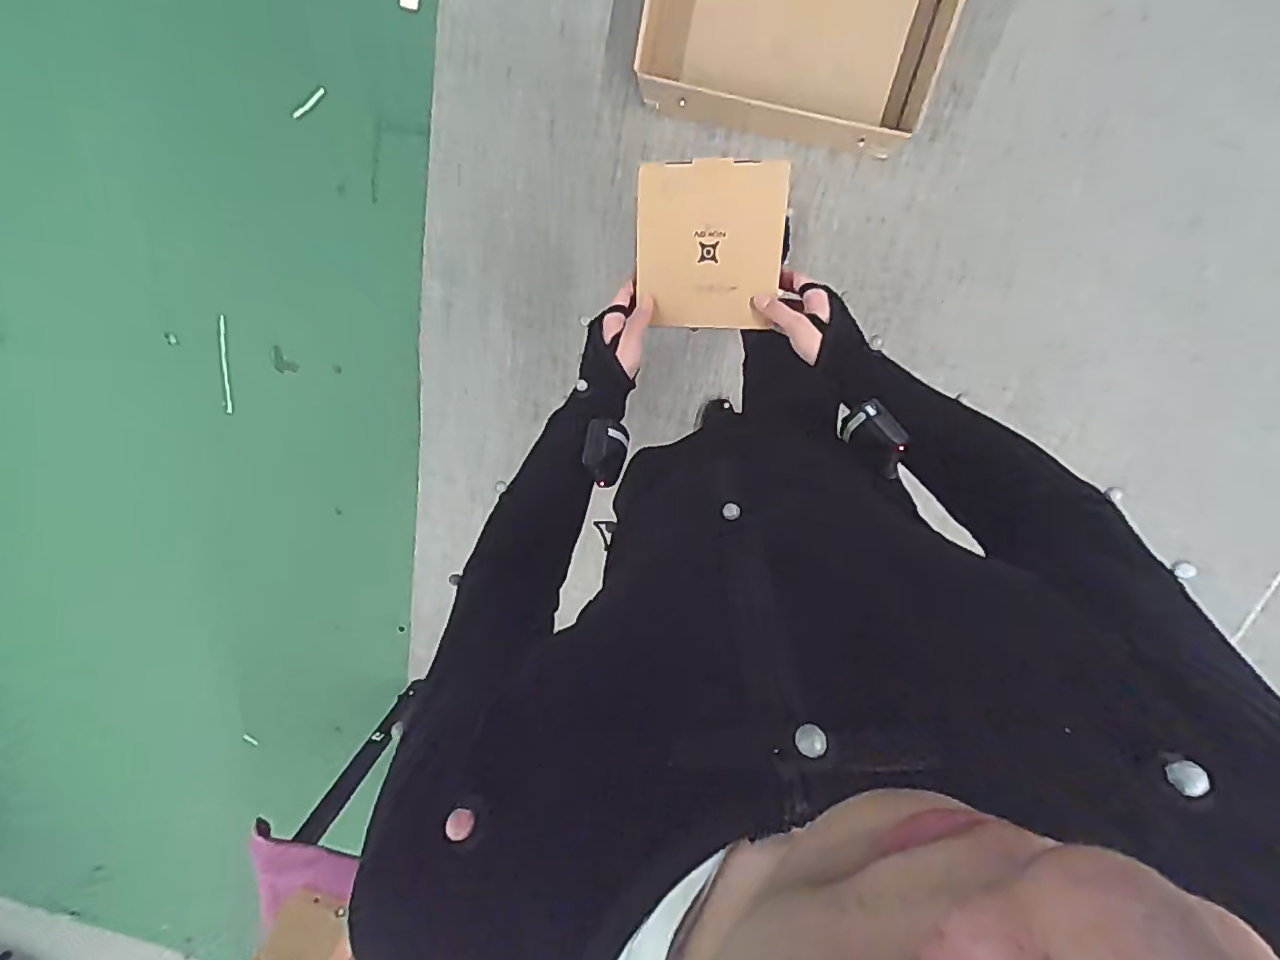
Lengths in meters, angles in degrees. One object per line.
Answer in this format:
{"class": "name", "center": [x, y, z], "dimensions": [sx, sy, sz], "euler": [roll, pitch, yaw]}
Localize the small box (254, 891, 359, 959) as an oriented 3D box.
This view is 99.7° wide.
{"class": "small box", "center": [-0.809, 1.149, 1.314], "dimensions": [0.168, 0.176, 0.179], "euler": [16, 113, 1]}
